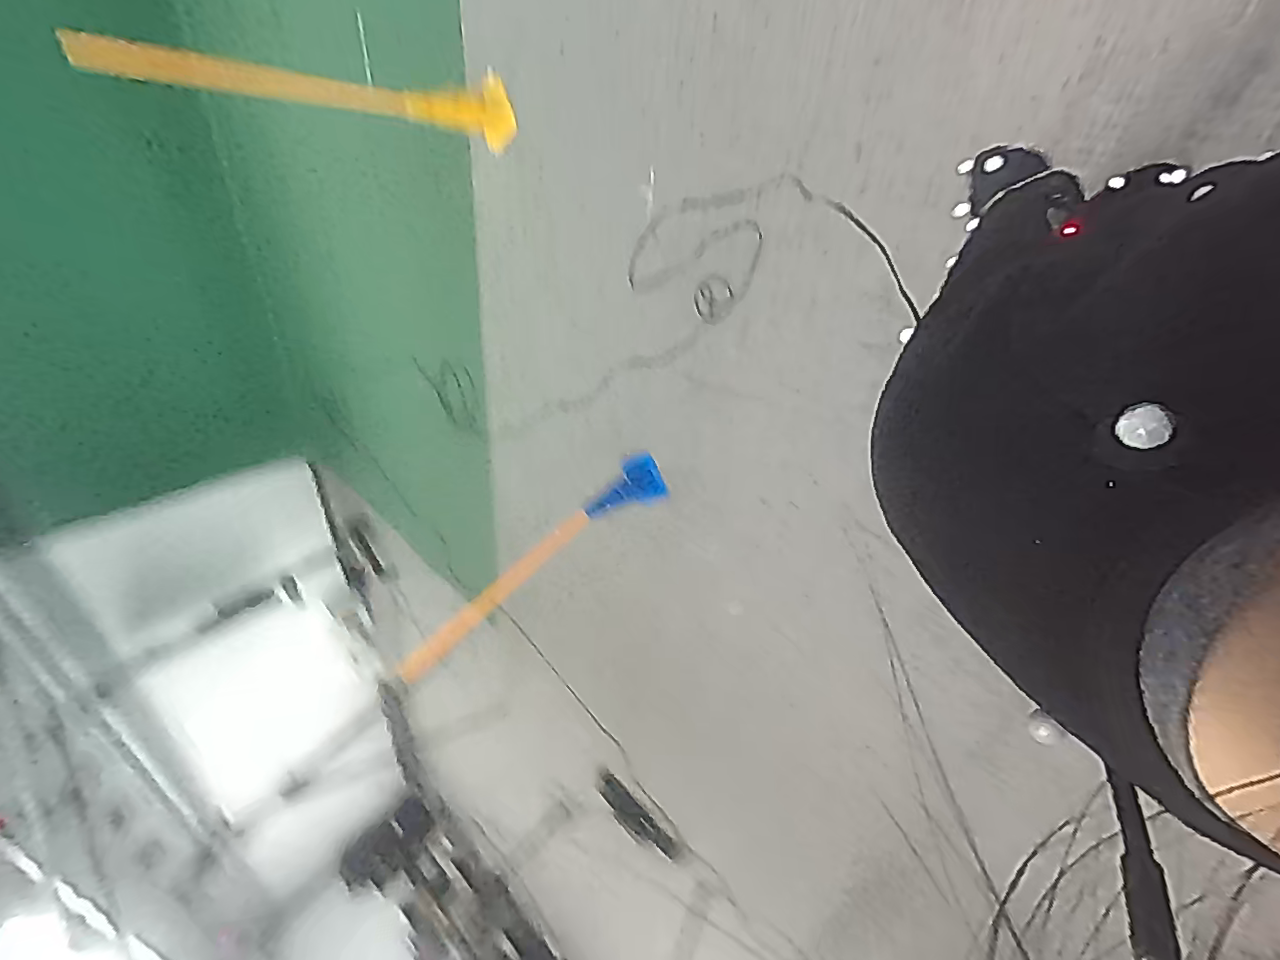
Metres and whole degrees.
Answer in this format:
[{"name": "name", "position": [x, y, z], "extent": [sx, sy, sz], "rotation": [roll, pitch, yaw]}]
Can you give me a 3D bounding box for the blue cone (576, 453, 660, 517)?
[{"name": "blue cone", "position": [-0.109, 0.052, 2.171], "extent": [0.192, 0.380, 0.193], "rotation": [-22, 98, 48]}]
